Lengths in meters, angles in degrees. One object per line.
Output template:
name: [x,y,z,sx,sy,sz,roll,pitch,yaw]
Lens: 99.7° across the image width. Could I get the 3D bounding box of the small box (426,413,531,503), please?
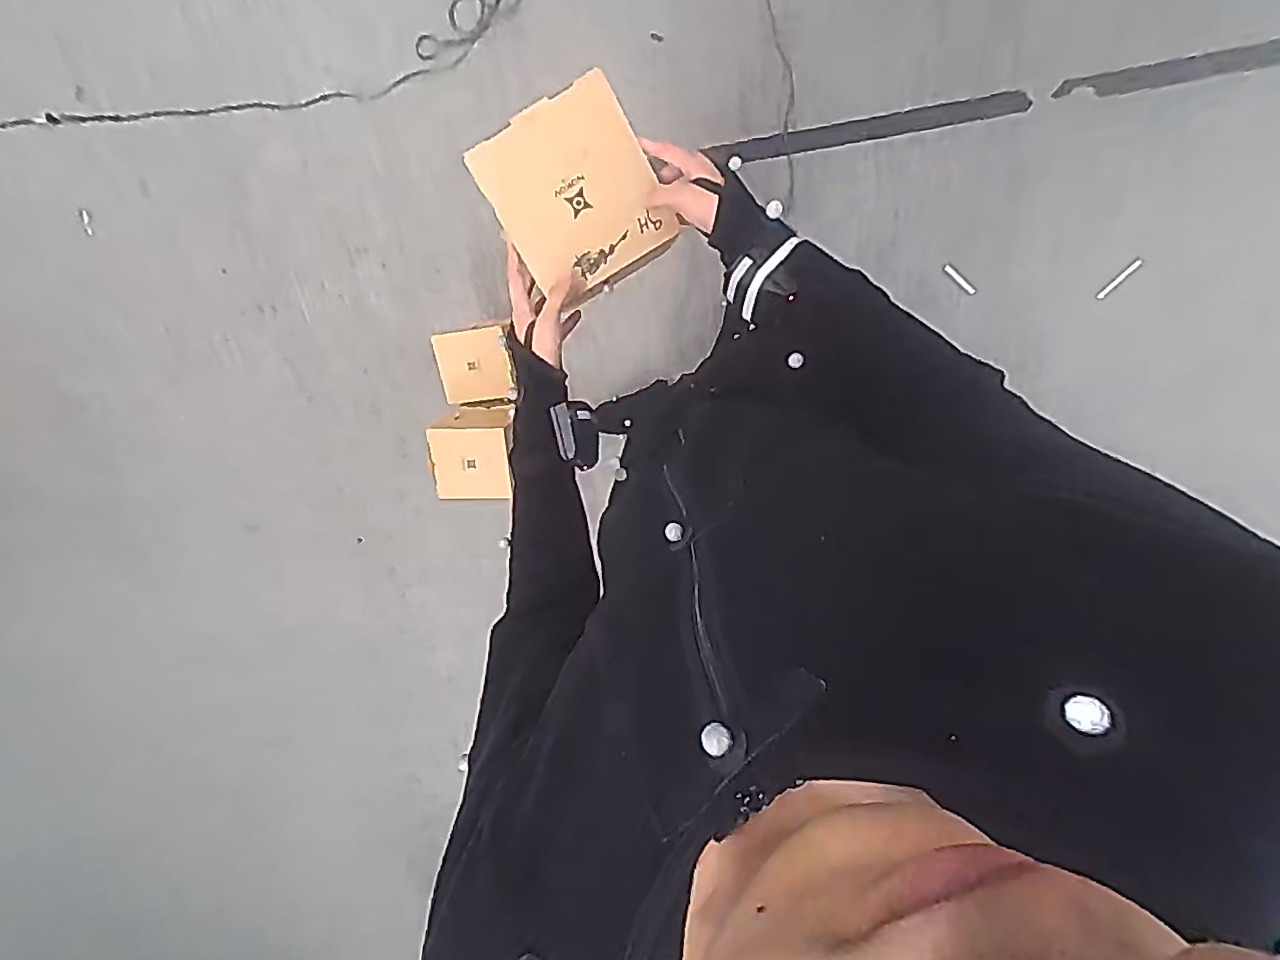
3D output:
small box: [-0.365,-0.055,1.250,0.179,0.176,0.168,0,111,5]
